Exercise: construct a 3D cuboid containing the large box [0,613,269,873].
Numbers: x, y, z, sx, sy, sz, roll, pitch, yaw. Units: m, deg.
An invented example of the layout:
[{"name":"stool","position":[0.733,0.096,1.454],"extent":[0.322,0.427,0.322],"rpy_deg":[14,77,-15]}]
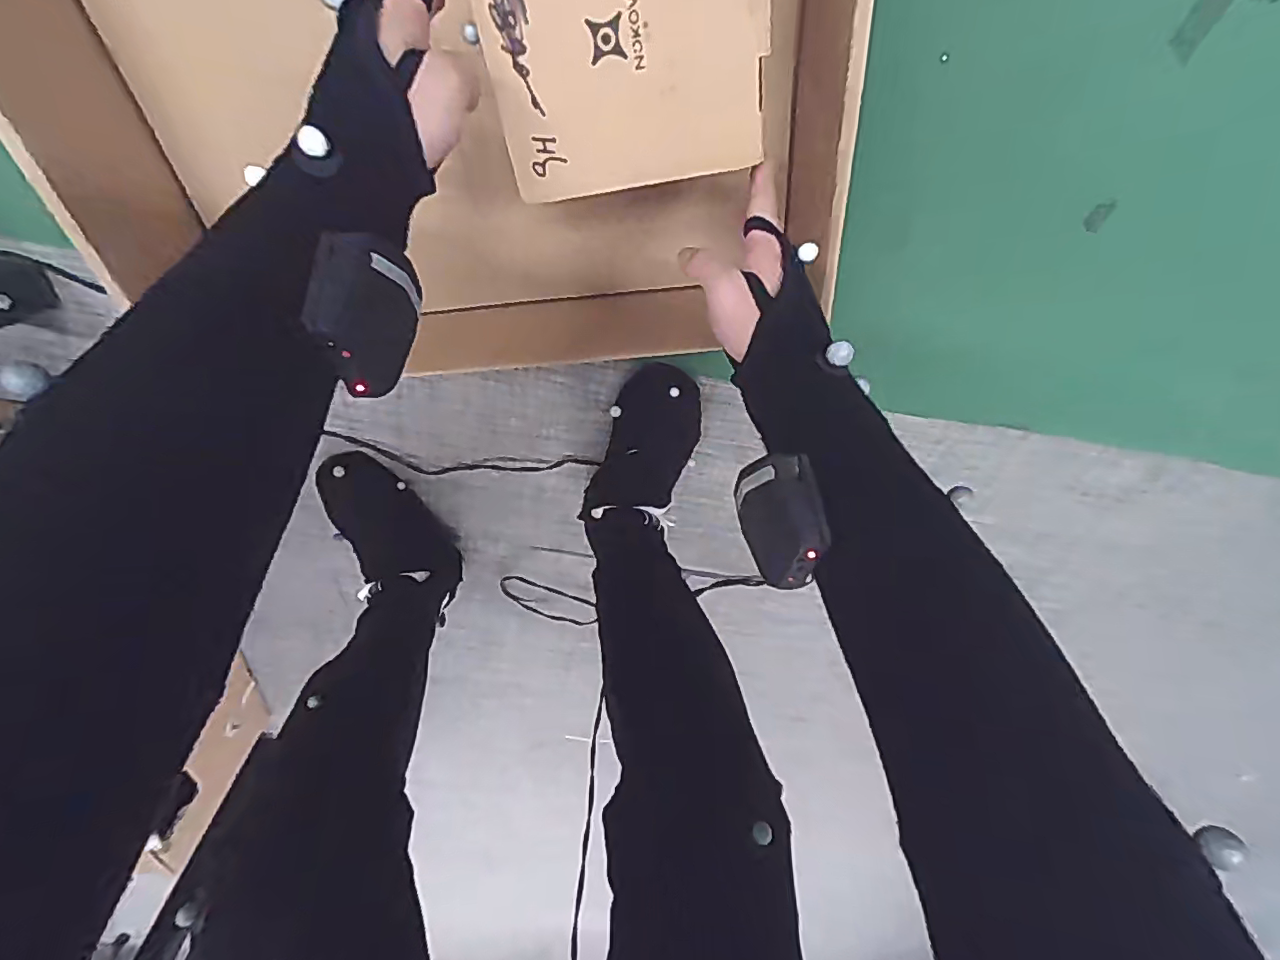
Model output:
[{"name":"large box","position":[-1.004,0.478,0.995],"extent":[0.408,0.320,0.320],"rpy_deg":[9,127,-6]}]
